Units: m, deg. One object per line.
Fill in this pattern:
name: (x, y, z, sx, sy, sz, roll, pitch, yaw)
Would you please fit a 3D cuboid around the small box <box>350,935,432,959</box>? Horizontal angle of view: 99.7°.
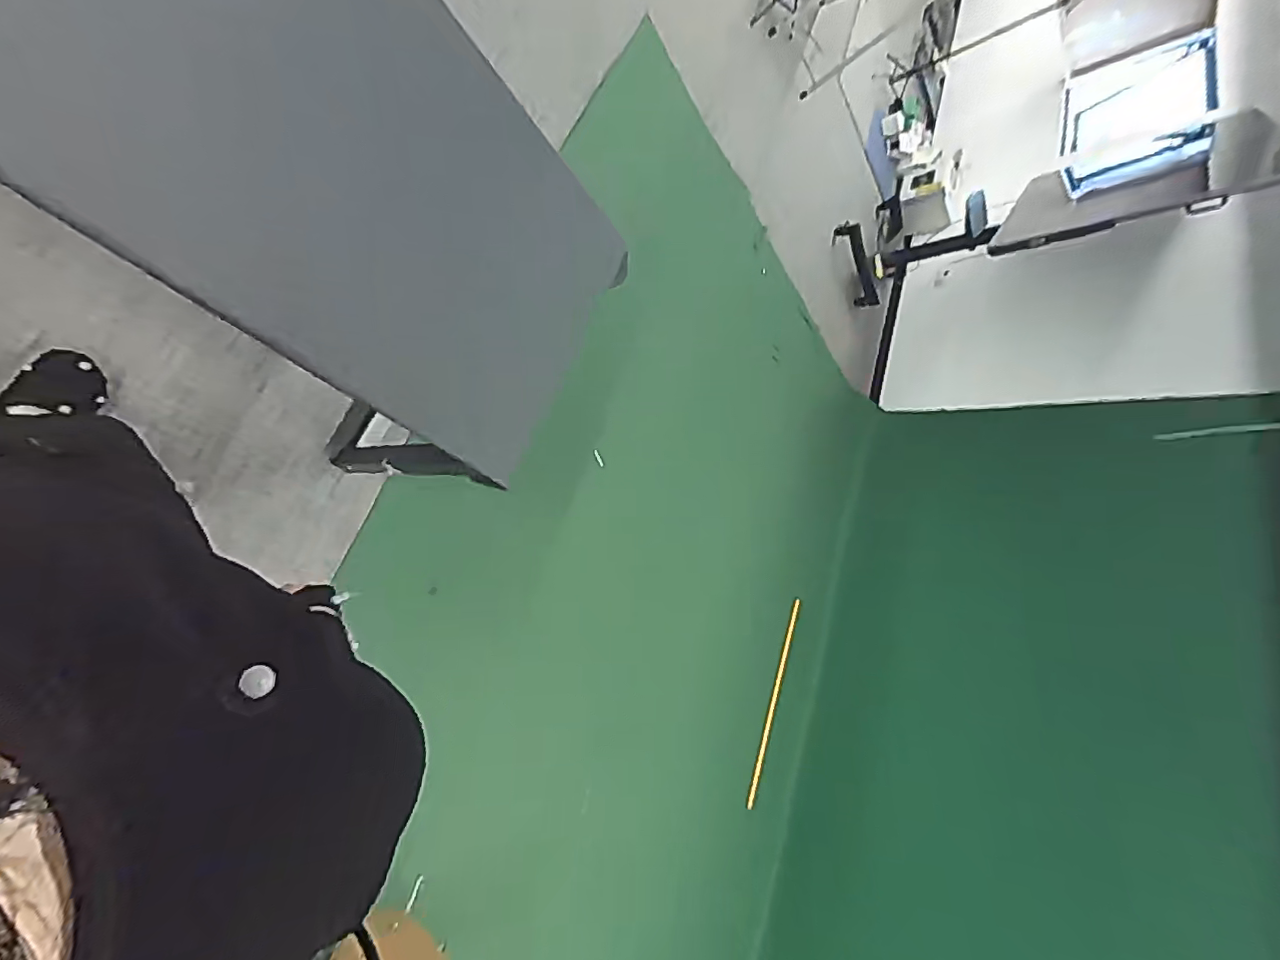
small box: (-0.629, 1.276, 1.343, 0.179, 0.176, 0.168, 39, 64, -43)
